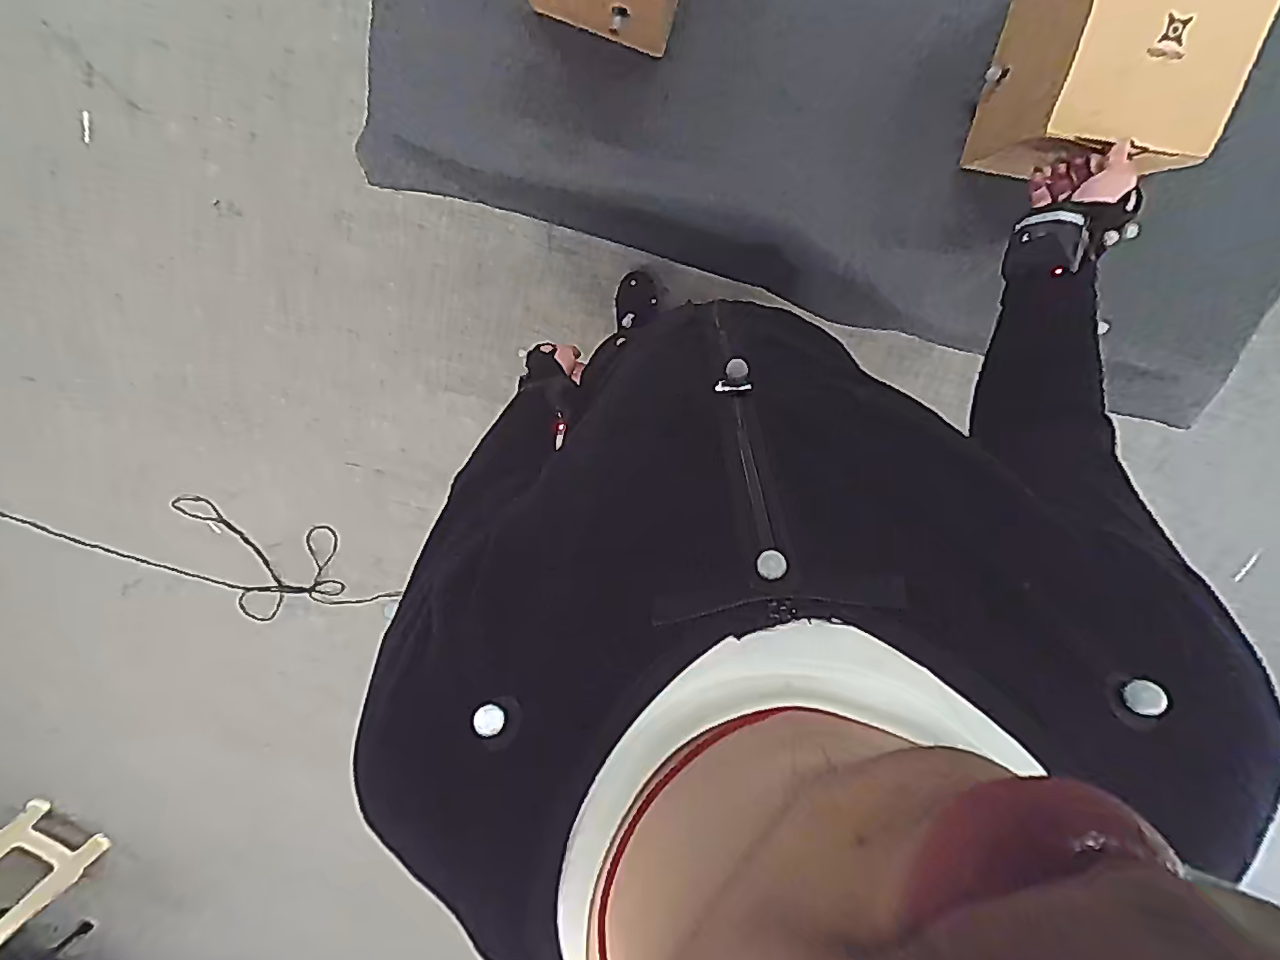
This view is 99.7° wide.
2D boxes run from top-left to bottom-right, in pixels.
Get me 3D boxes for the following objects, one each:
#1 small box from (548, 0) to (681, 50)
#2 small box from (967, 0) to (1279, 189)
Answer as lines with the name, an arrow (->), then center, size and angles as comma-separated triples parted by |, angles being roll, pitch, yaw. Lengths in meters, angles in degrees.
small box -> -0.021, -0.587, 0.546 | 0.168, 0.176, 0.179 | 18, 108, -6
small box -> 0.492, -0.430, 0.582 | 0.168, 0.176, 0.179 | 9, 110, -2
